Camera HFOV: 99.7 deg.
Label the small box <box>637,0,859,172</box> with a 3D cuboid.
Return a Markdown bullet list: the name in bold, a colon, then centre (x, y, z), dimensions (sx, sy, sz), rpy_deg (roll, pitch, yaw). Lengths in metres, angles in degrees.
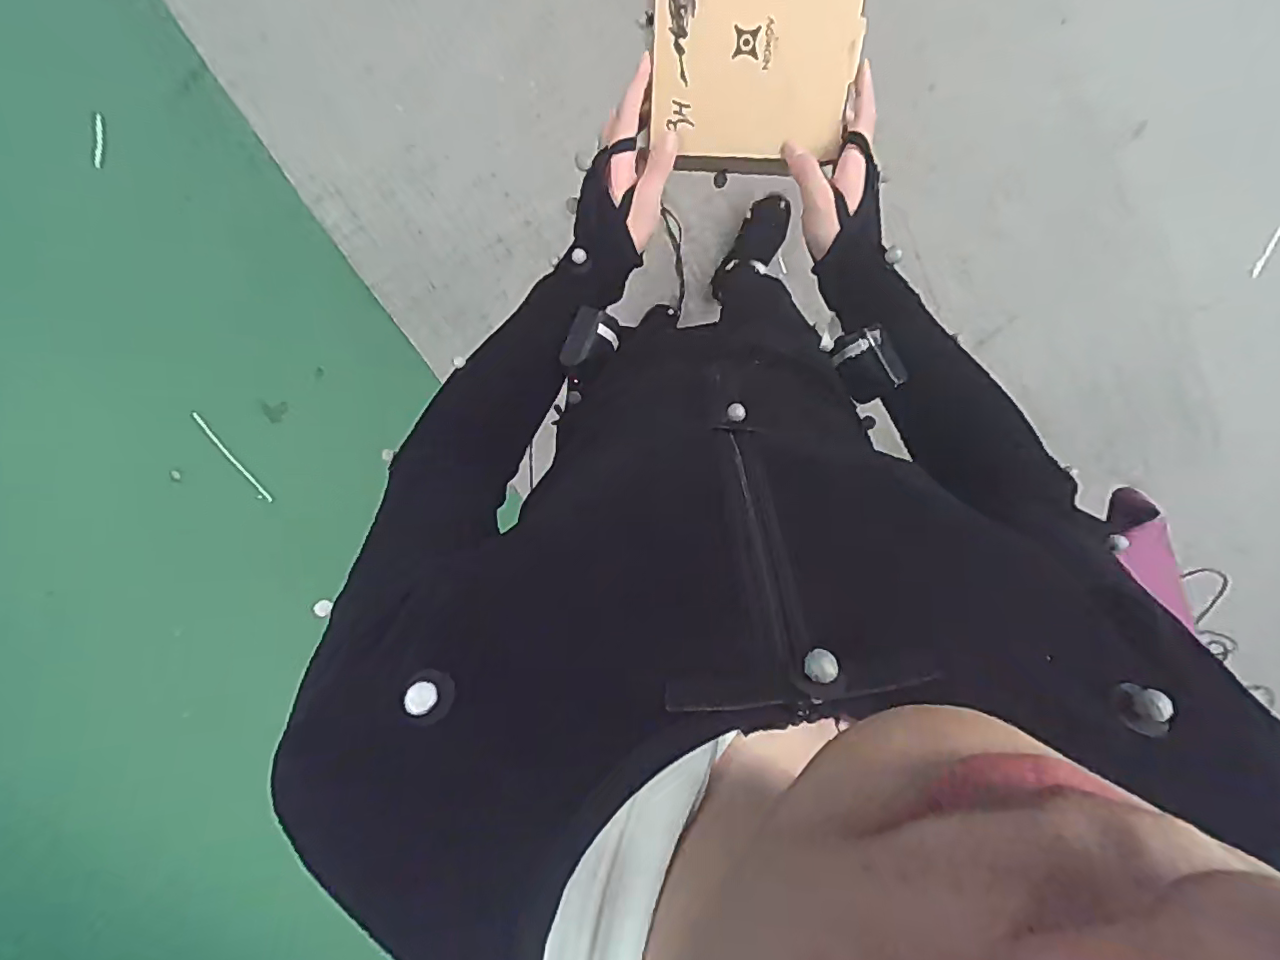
- **small box**: centre (0.091, -0.405, 0.528), dimensions (0.179, 0.176, 0.168), rpy_deg (1, 115, -3)
